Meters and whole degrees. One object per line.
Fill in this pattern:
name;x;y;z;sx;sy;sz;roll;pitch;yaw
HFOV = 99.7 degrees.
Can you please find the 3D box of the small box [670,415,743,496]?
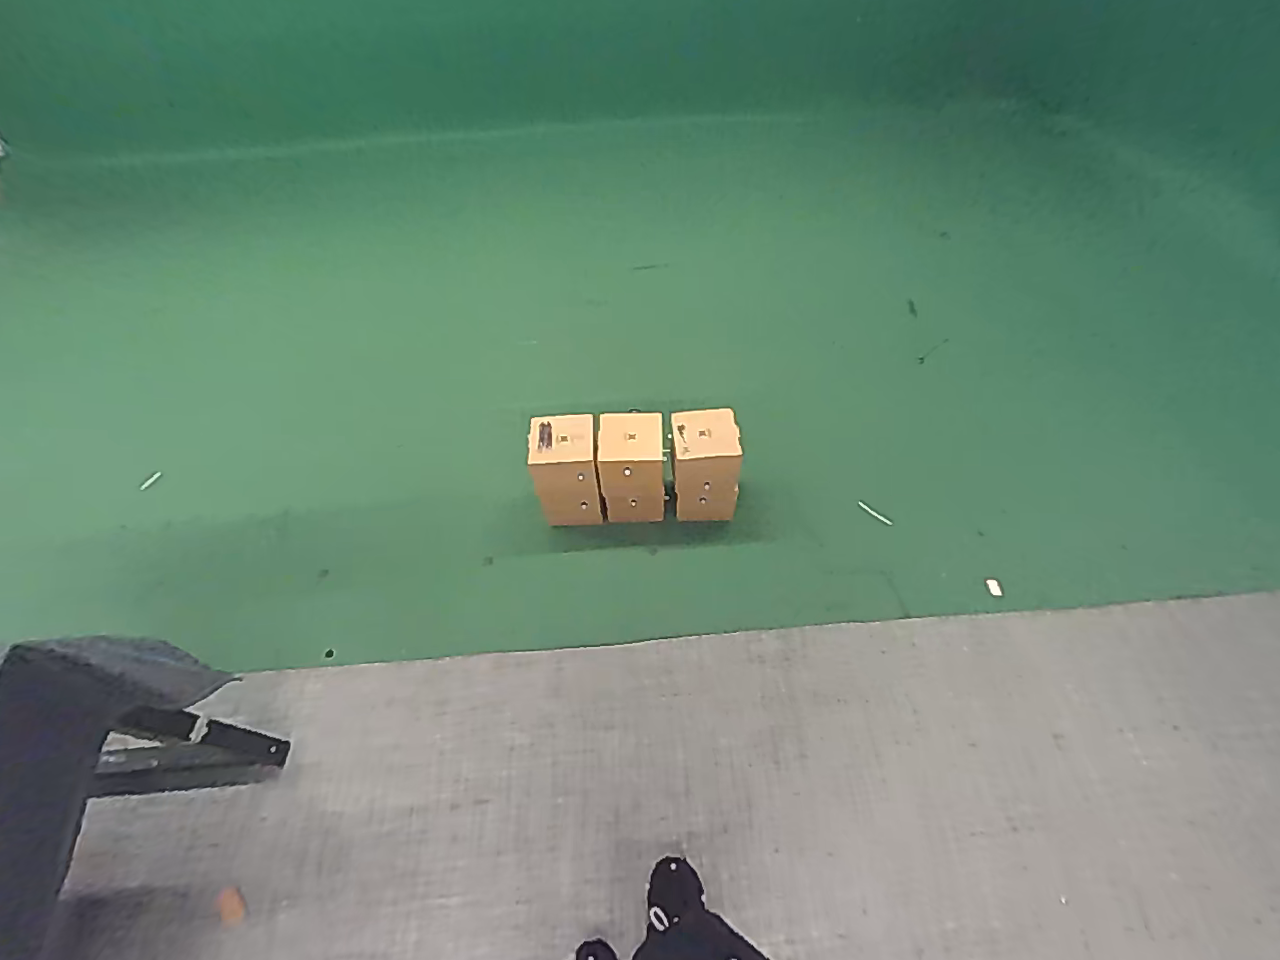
small box;0.181;-0.067;1.532;0.179;0.176;0.168;-3;55;-2
